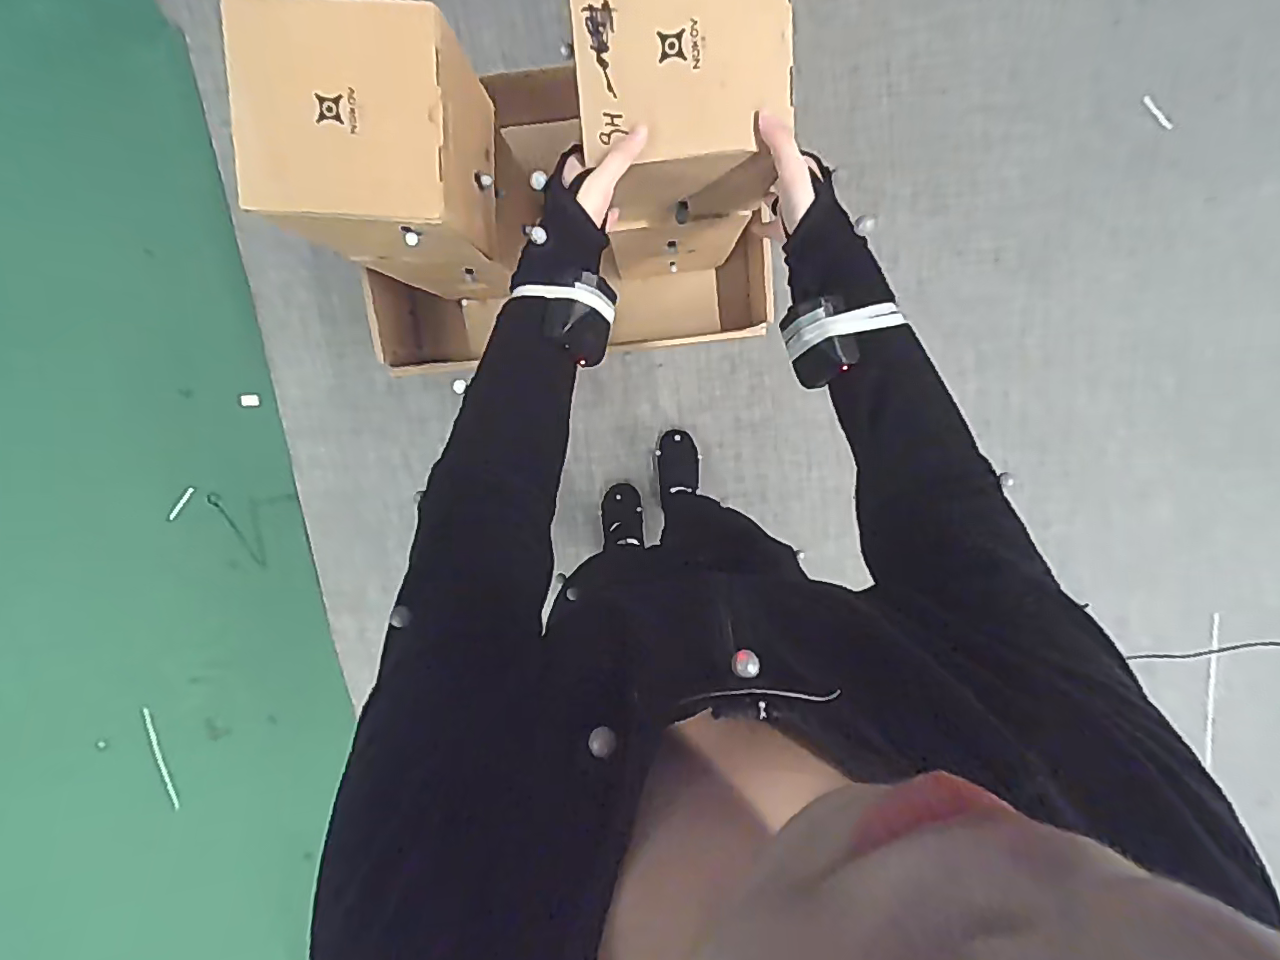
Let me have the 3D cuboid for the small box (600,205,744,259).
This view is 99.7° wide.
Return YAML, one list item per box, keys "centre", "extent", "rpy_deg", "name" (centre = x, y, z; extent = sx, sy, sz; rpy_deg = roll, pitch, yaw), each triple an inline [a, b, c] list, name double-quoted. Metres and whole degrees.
- centre: [0.033, -0.383, 0.673]
  extent: [0.168, 0.176, 0.179]
  rpy_deg: [-5, 100, 2]
  name: "small box"

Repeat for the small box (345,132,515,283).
- centre: [-0.260, -0.354, 0.690]
  extent: [0.168, 0.176, 0.179]
  rpy_deg: [0, 100, 0]
  name: "small box"

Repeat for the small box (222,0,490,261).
- centre: [-0.258, -0.321, 0.531]
  extent: [0.179, 0.176, 0.168]
  rpy_deg: [3, 100, -2]
  name: "small box"

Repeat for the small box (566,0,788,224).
- centre: [0.031, -0.356, 0.511]
  extent: [0.179, 0.176, 0.168]
  rpy_deg: [-4, 100, 2]
  name: "small box"
